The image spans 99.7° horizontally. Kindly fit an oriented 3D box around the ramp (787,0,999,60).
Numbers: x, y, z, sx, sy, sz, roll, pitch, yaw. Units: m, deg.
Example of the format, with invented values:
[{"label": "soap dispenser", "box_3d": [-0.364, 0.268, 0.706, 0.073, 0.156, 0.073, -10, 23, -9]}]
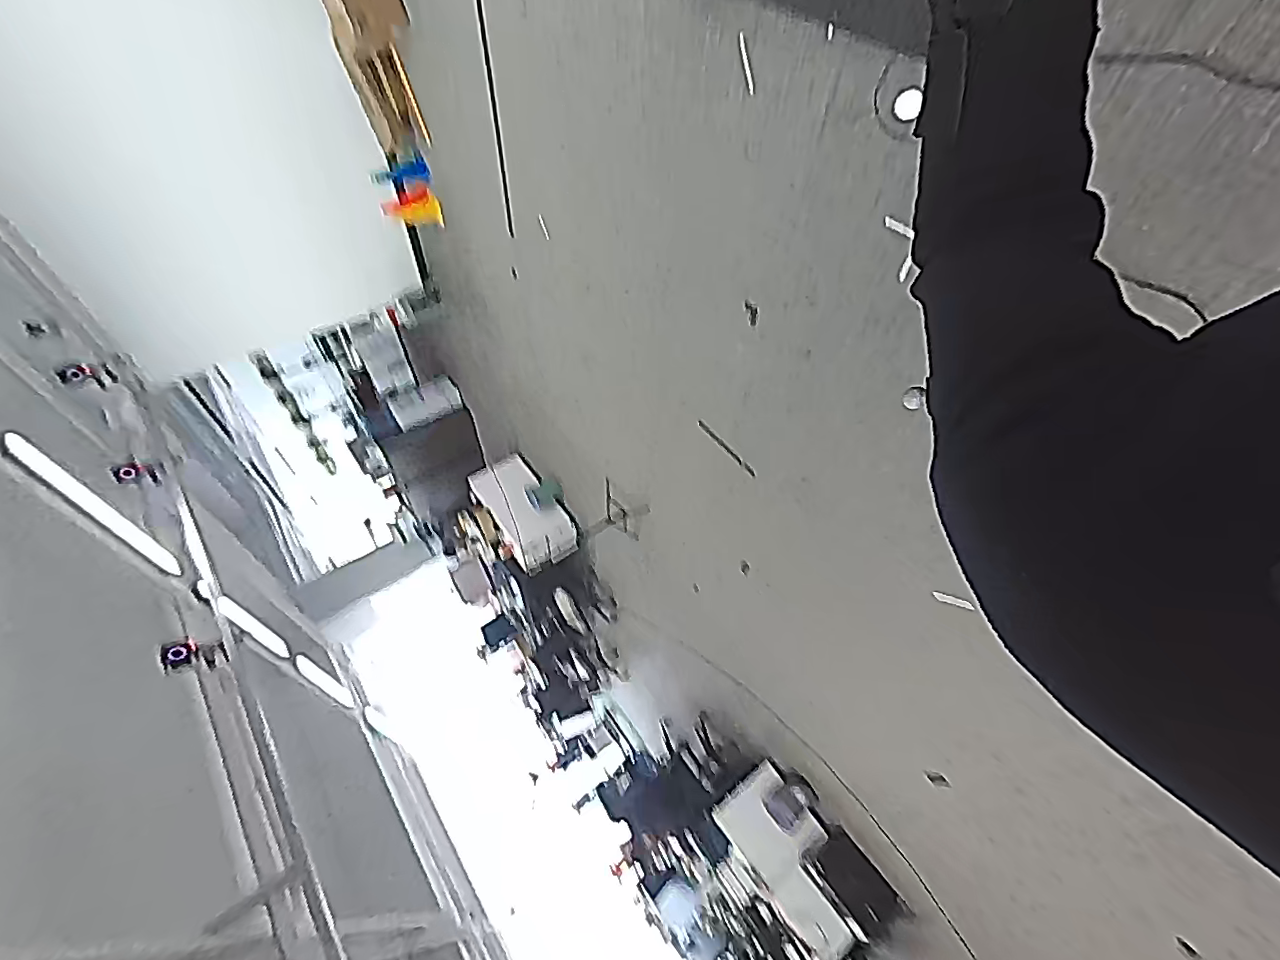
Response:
[{"label": "ramp", "box_3d": [0.368, -1.340, 1.143, 0.991, 0.206, 0.509, 47, 152, 25]}]
